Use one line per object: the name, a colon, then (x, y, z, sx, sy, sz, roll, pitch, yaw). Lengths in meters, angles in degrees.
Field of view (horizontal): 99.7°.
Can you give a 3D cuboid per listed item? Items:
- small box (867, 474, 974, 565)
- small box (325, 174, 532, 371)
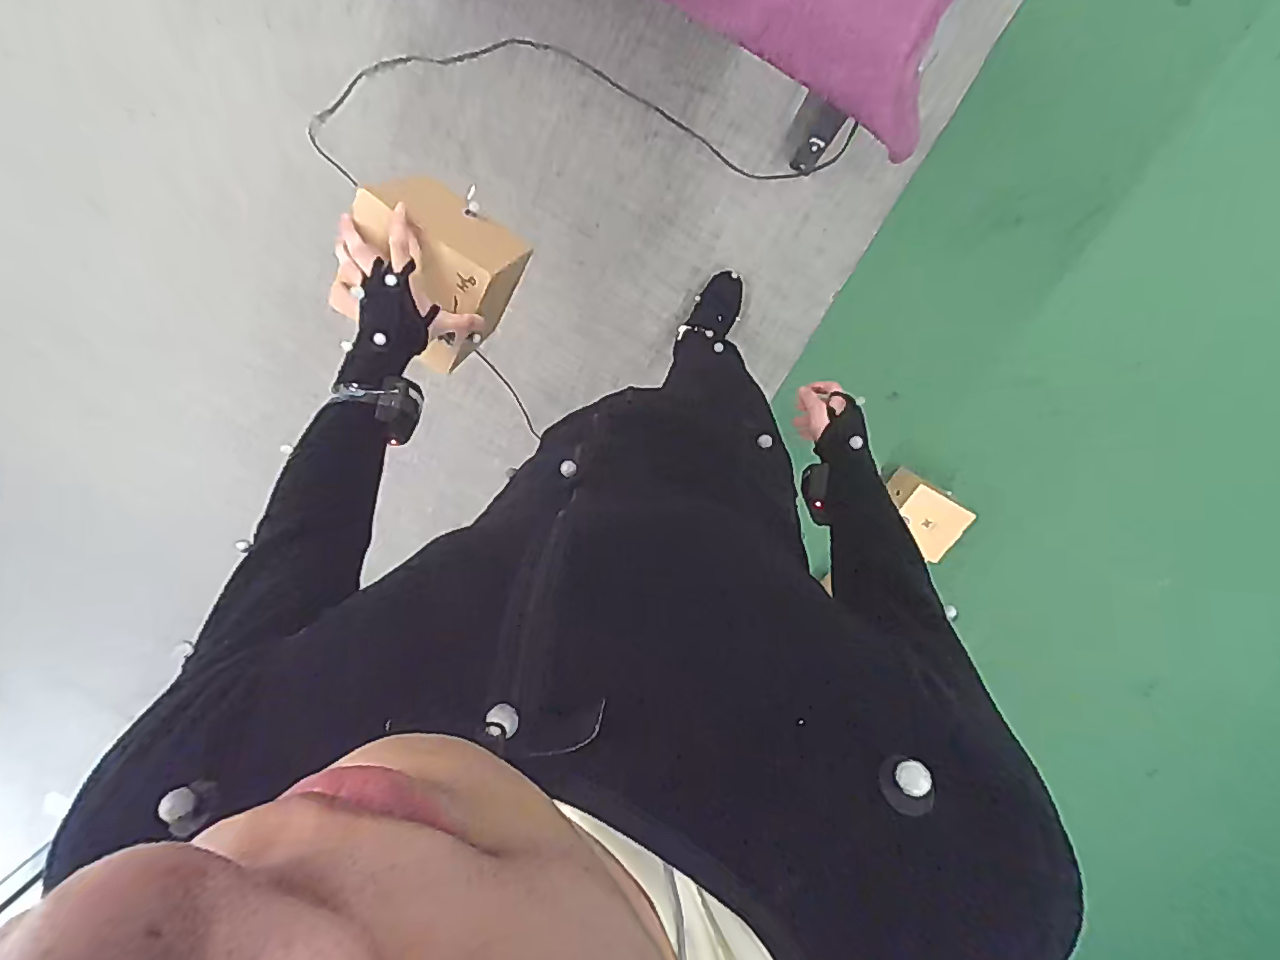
small box: (0.762, 0.099, 1.496, 0.179, 0.176, 0.168, 29, 109, -3)
small box: (-0.276, -0.286, 0.732, 0.179, 0.176, 0.168, 33, 124, -12)
